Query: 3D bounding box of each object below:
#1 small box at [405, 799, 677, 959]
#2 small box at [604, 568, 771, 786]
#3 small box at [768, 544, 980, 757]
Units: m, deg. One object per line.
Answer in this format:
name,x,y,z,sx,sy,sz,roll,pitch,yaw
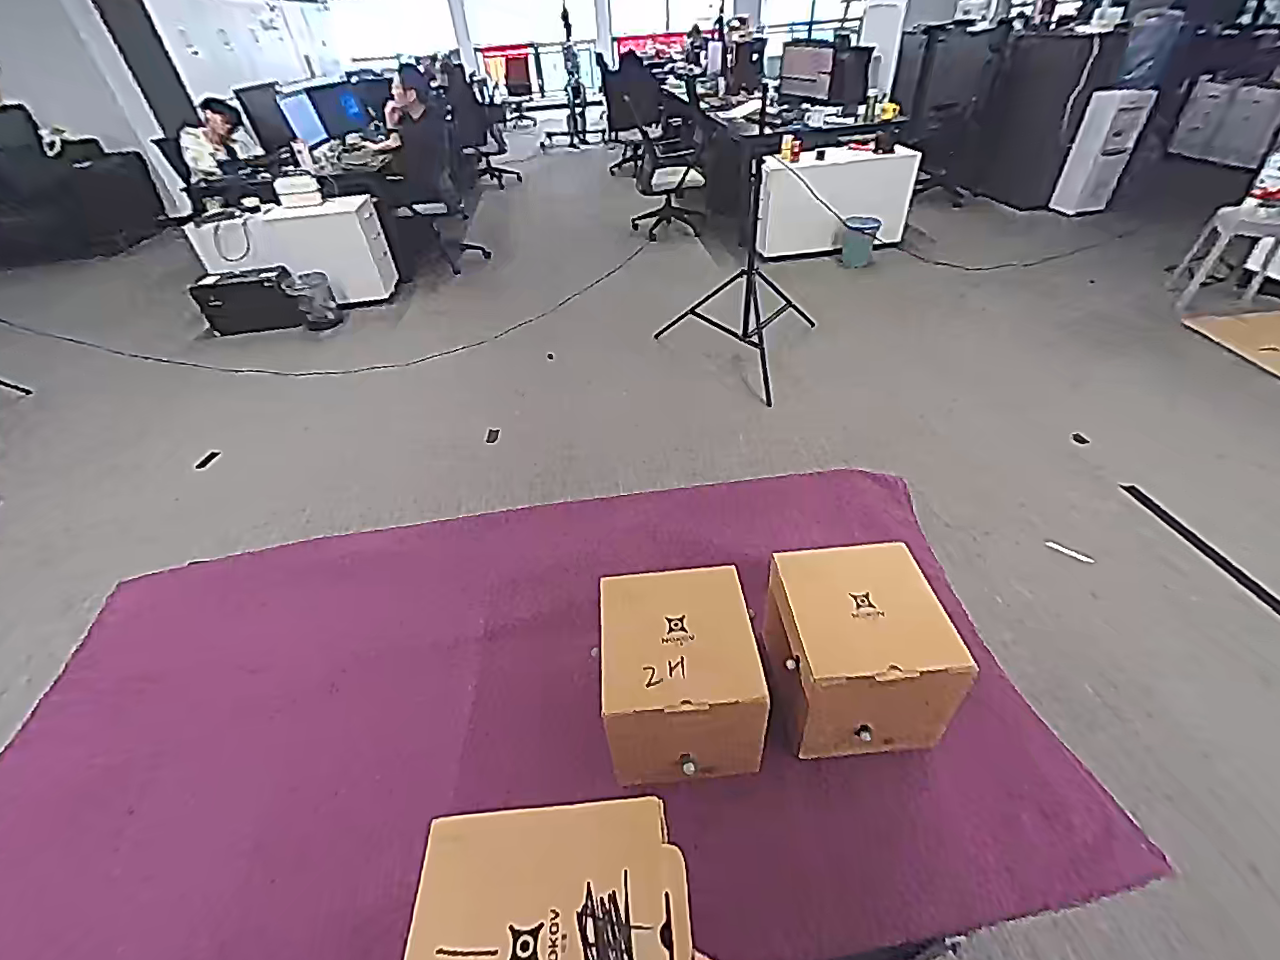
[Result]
small box,-0.059,0.360,0.398,0.179,0.176,0.168,-6,39,0
small box,0.047,0.229,0.637,0.168,0.176,0.179,-6,39,0
small box,0.256,0.201,0.647,0.168,0.176,0.179,-6,39,0
